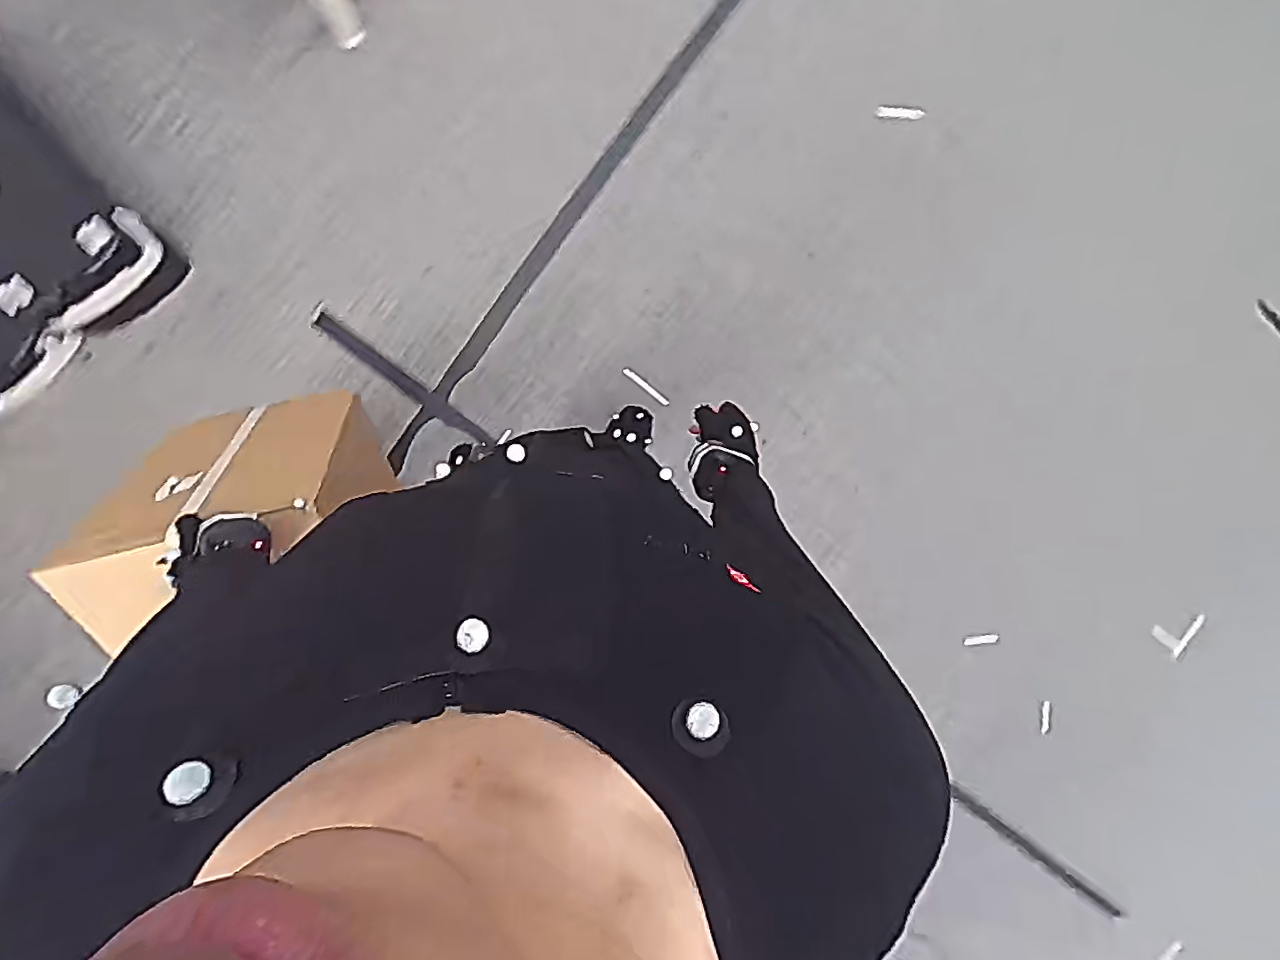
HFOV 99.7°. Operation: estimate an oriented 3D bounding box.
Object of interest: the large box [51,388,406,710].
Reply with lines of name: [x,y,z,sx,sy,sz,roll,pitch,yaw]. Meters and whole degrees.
large box: [-0.602,0.087,0.908,0.320,0.408,0.320,-15,126,-11]
